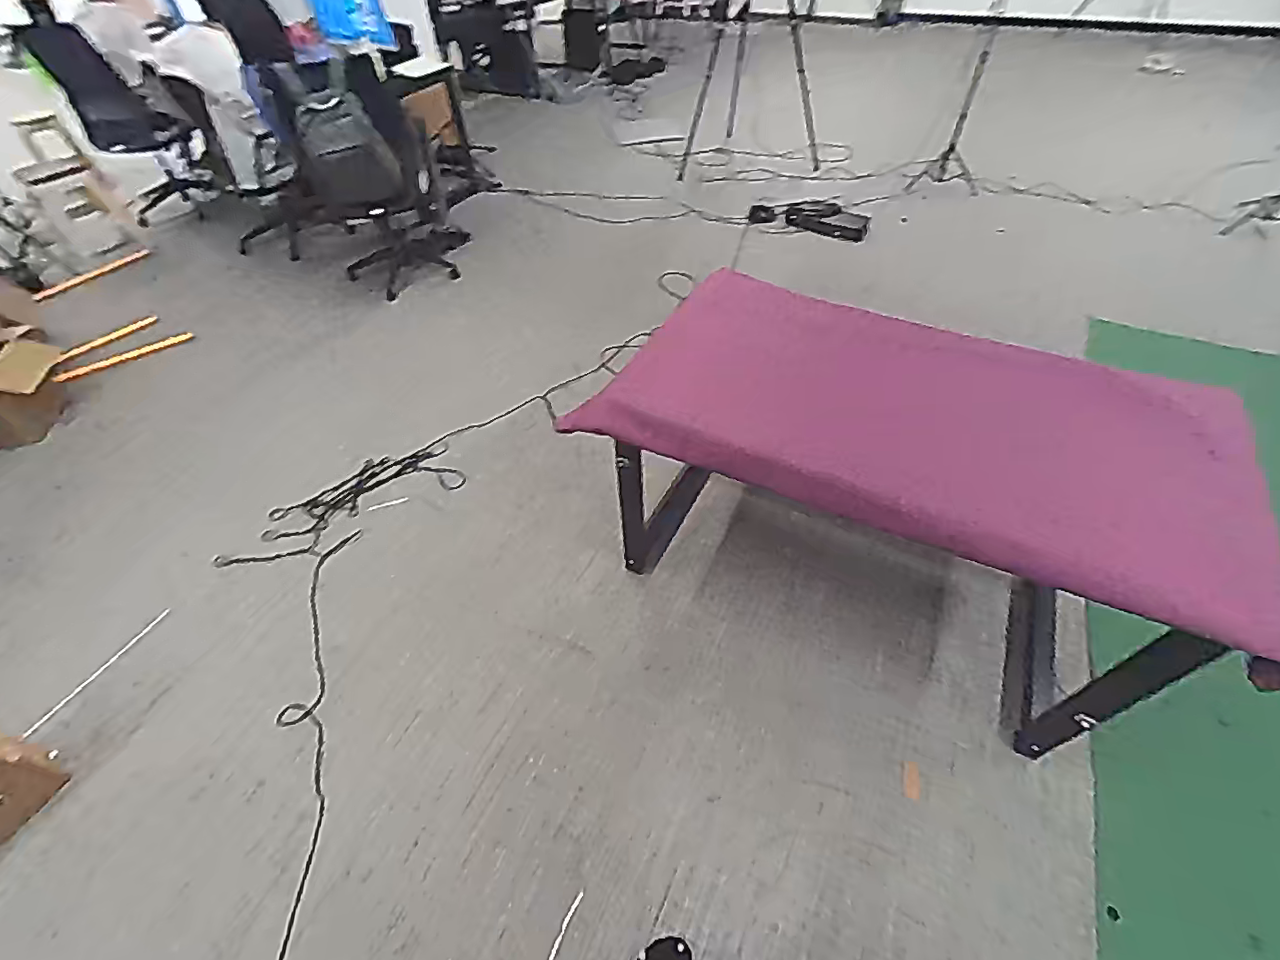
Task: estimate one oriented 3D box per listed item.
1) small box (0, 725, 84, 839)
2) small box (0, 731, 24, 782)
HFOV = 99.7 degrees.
[{"bbox_3d":[-1.551,0.743,1.323,0.168,0.176,0.179,19,52,19],"label":"small box"},{"bbox_3d":[-1.562,0.641,1.195,0.168,0.176,0.179,20,53,18],"label":"small box"}]
